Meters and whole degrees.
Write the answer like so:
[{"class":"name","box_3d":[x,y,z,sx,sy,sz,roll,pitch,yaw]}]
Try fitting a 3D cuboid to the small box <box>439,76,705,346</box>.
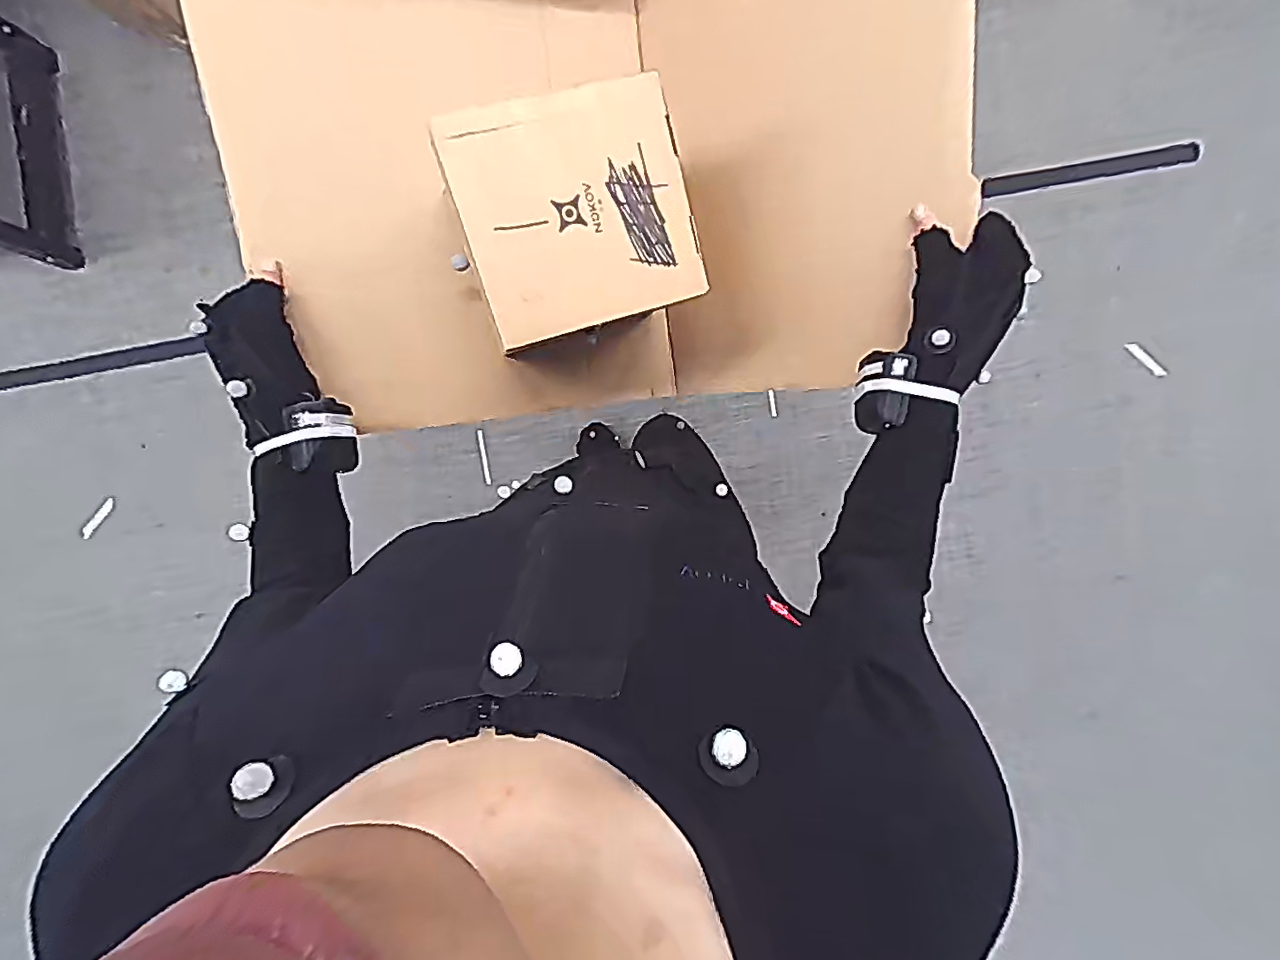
[{"class":"small box","box_3d":[-0.064,-0.226,0.495,0.179,0.176,0.168,-19,106,-10]}]
